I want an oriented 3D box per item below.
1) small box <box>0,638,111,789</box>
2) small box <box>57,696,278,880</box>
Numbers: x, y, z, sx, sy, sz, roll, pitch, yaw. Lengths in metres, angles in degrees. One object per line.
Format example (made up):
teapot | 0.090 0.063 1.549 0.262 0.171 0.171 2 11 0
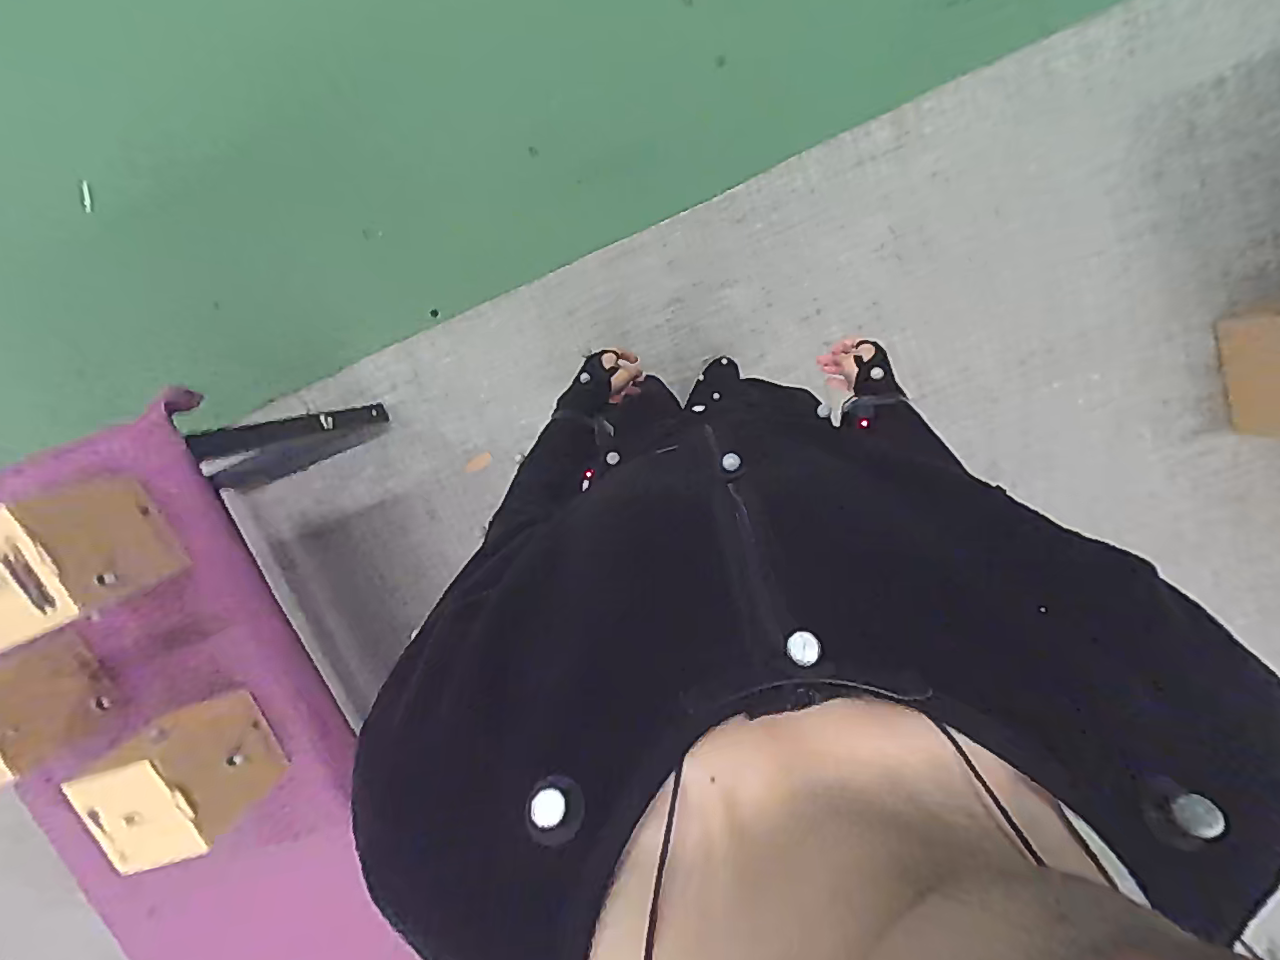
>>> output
small box | -1.003 0.376 0.851 0.179 0.176 0.168 -22 100 10
small box | -0.716 0.470 0.848 0.179 0.176 0.168 -20 100 9
